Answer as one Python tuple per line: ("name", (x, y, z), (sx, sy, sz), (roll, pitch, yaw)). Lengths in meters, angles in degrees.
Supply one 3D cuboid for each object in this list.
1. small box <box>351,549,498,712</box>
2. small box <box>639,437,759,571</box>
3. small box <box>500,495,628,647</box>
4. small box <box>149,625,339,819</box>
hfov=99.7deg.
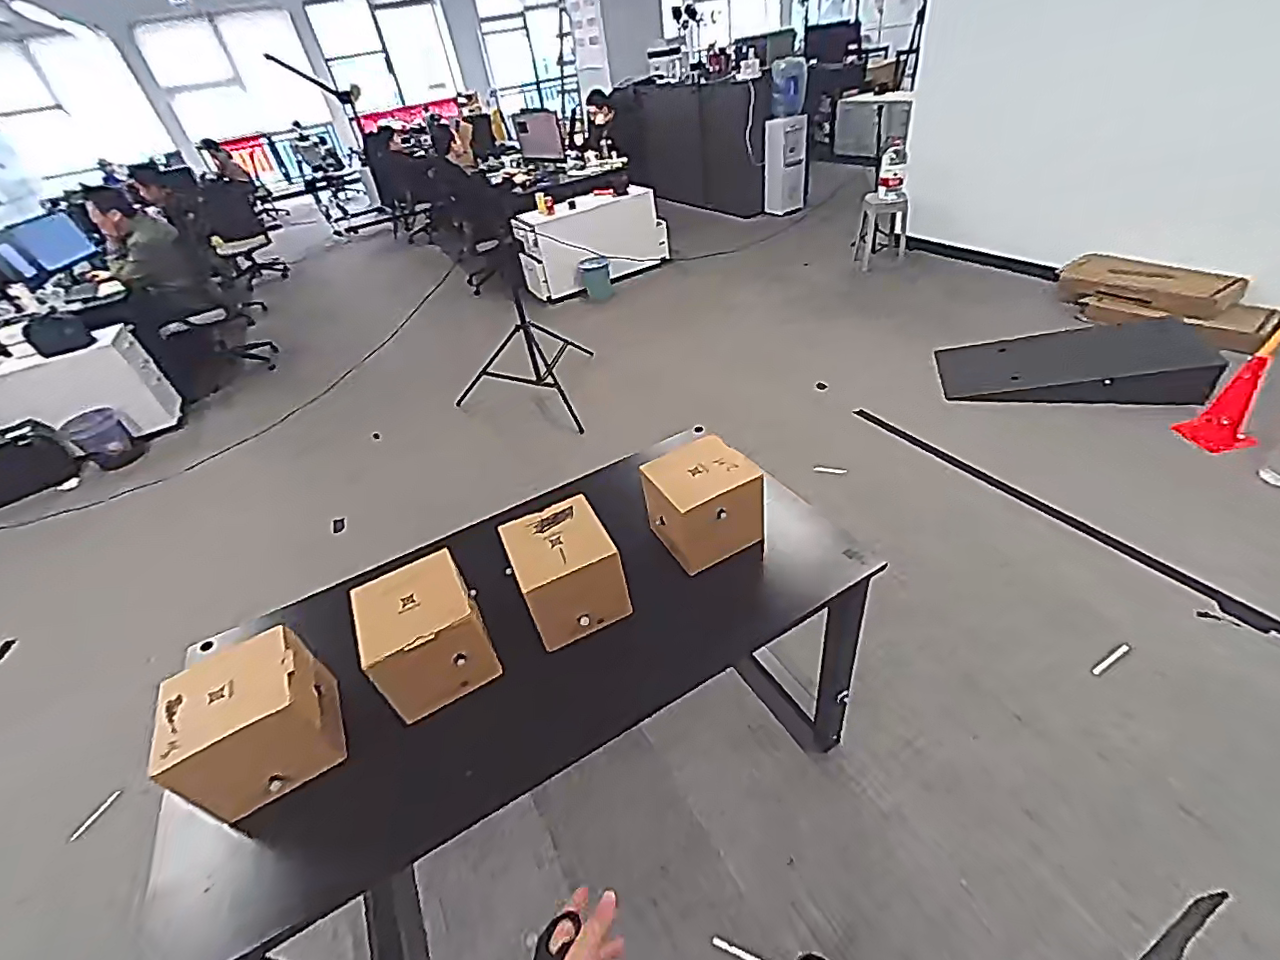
("small box", (-0.357, 0.256, 0.906), (0.168, 0.176, 0.179), (-25, 40, -19))
("small box", (0.119, 0.048, 1.058), (0.179, 0.176, 0.168), (-24, 41, -16))
("small box", (-0.135, 0.163, 0.971), (0.168, 0.176, 0.179), (-22, 41, -15))
("small box", (-0.579, 0.363, 0.818), (0.179, 0.176, 0.168), (-25, 41, -20))
